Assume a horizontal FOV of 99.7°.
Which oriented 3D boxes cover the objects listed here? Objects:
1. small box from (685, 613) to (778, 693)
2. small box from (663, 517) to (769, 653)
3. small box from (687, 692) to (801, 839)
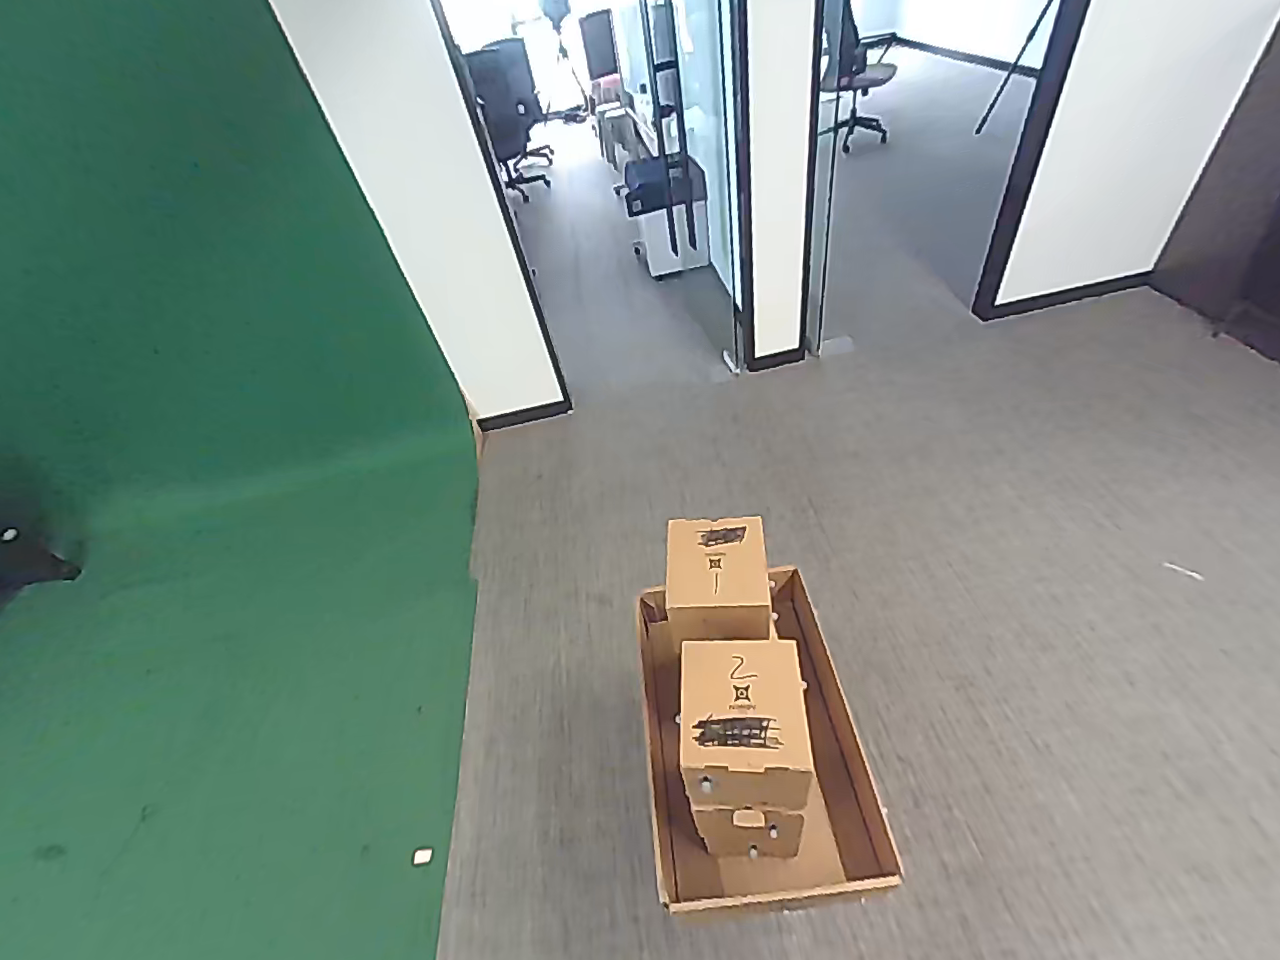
[{"bbox_3d":[0.166,0.298,1.066,0.168,0.176,0.179,-10,47,3],"label":"small box"},{"bbox_3d":[0.135,0.184,0.952,0.168,0.176,0.179,-3,48,10],"label":"small box"},{"bbox_3d":[0.170,0.470,0.889,0.168,0.176,0.179,-3,44,9],"label":"small box"}]
